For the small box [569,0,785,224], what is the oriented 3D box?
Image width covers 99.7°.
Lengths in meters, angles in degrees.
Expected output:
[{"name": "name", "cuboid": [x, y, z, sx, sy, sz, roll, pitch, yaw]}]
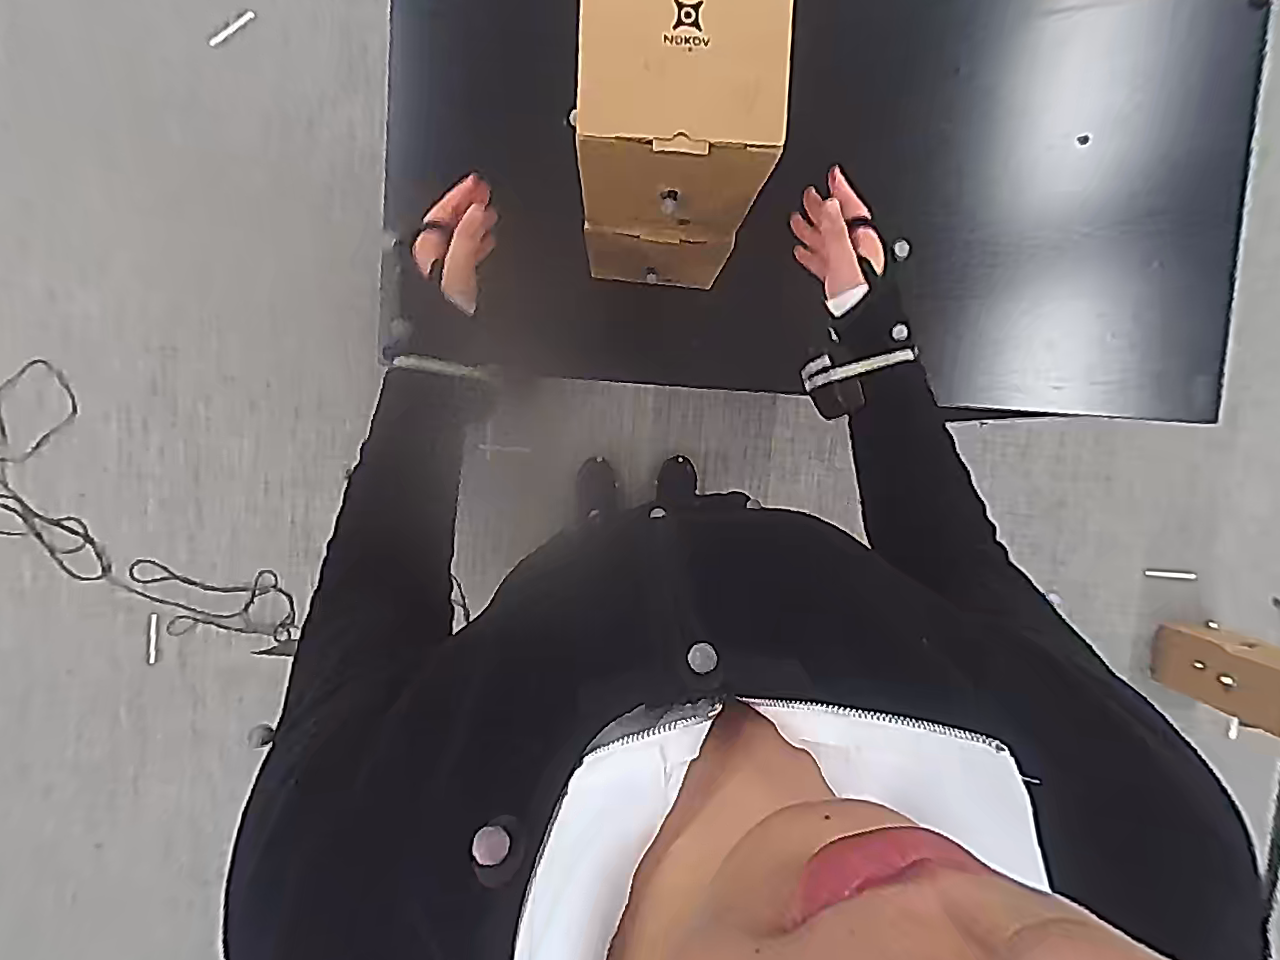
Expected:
[{"name": "small box", "cuboid": [0.028, -0.356, 0.497, 0.168, 0.176, 0.179, 2, 94, -2]}]

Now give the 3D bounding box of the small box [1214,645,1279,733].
[{"name": "small box", "cuboid": [1.606, 0.518, 1.345, 0.179, 0.176, 0.168, 0, 93, 0]}]

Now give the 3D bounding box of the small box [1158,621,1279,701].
[{"name": "small box", "cuboid": [1.604, 0.502, 1.506, 0.168, 0.176, 0.179, 2, 95, -2]}]

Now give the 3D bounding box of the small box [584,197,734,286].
[{"name": "small box", "cuboid": [0.024, -0.357, 0.662, 0.168, 0.176, 0.179, 5, 94, -2]}]
